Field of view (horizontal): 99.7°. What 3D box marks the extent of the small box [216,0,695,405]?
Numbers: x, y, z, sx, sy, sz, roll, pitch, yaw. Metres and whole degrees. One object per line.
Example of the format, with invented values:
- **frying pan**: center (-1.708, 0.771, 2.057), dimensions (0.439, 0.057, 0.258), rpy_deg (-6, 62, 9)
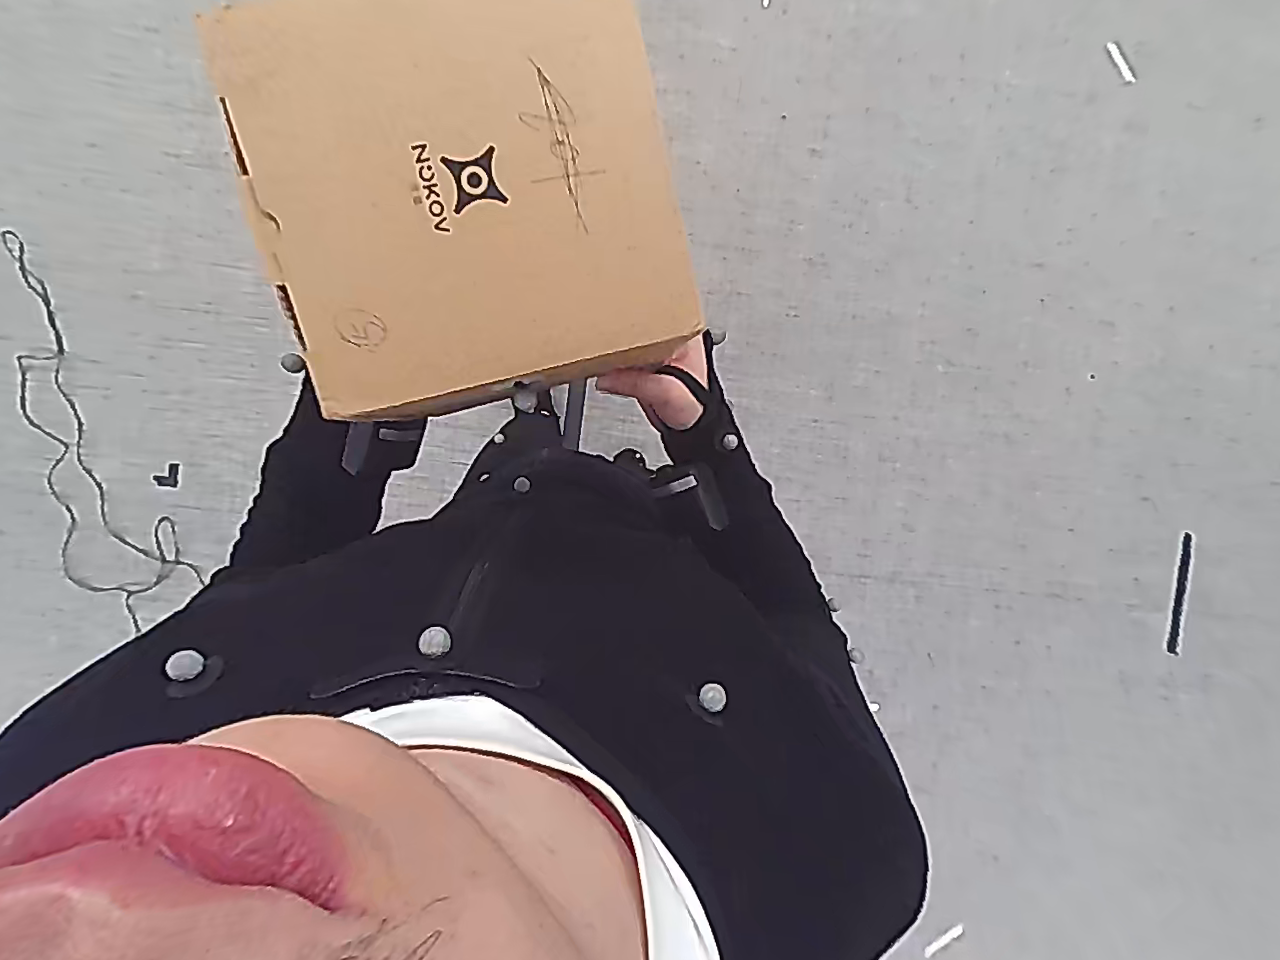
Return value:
- **small box**: center (-0.082, -0.143, 0.319), dimensions (0.179, 0.176, 0.168), rpy_deg (-15, 100, -3)
